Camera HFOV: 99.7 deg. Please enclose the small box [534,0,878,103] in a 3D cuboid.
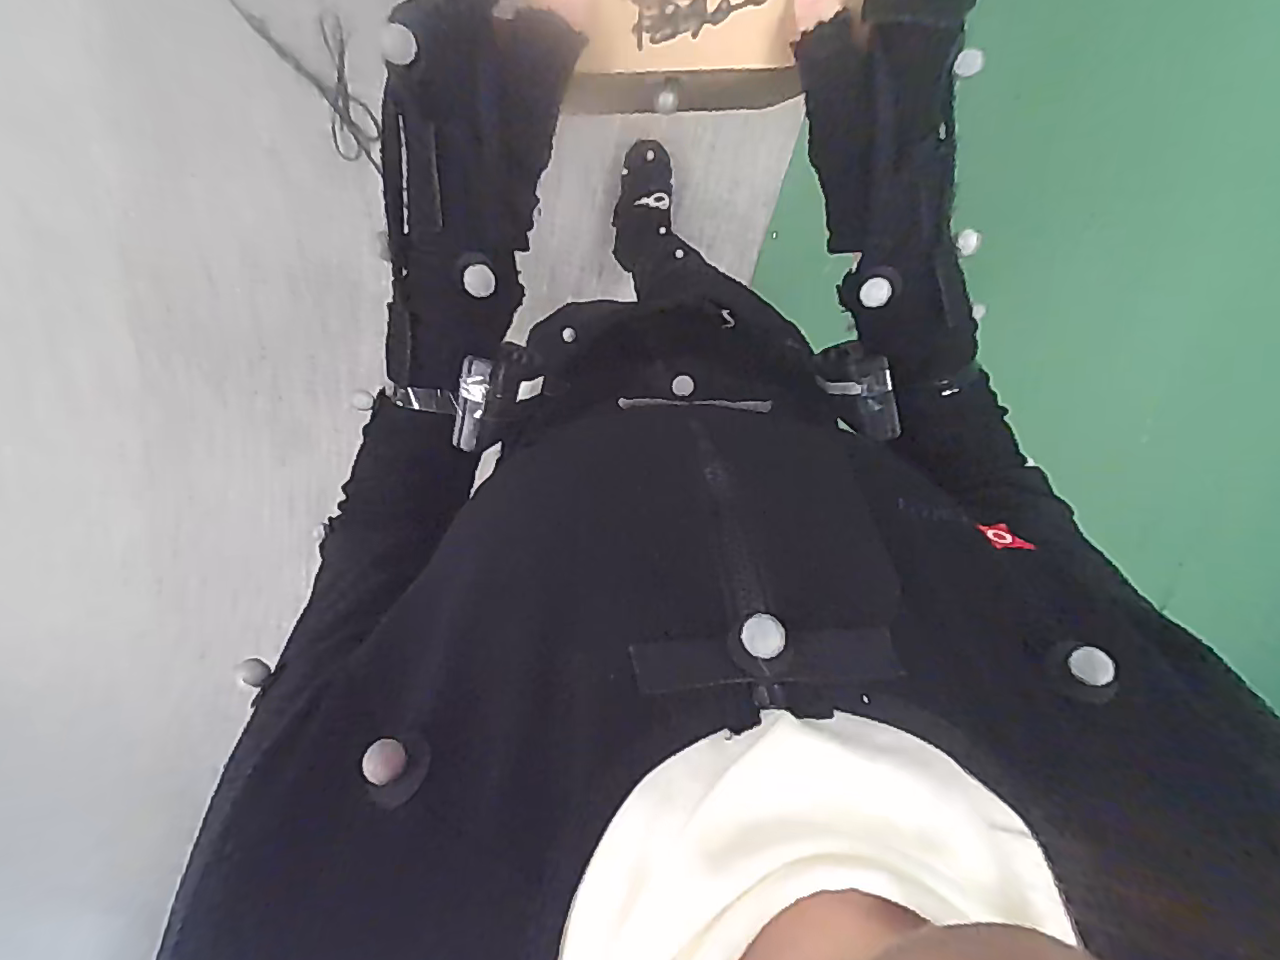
[{"bbox_3d":[0.023,-0.320,0.290,0.168,0.176,0.179,-4,119,-4],"label":"small box"}]
